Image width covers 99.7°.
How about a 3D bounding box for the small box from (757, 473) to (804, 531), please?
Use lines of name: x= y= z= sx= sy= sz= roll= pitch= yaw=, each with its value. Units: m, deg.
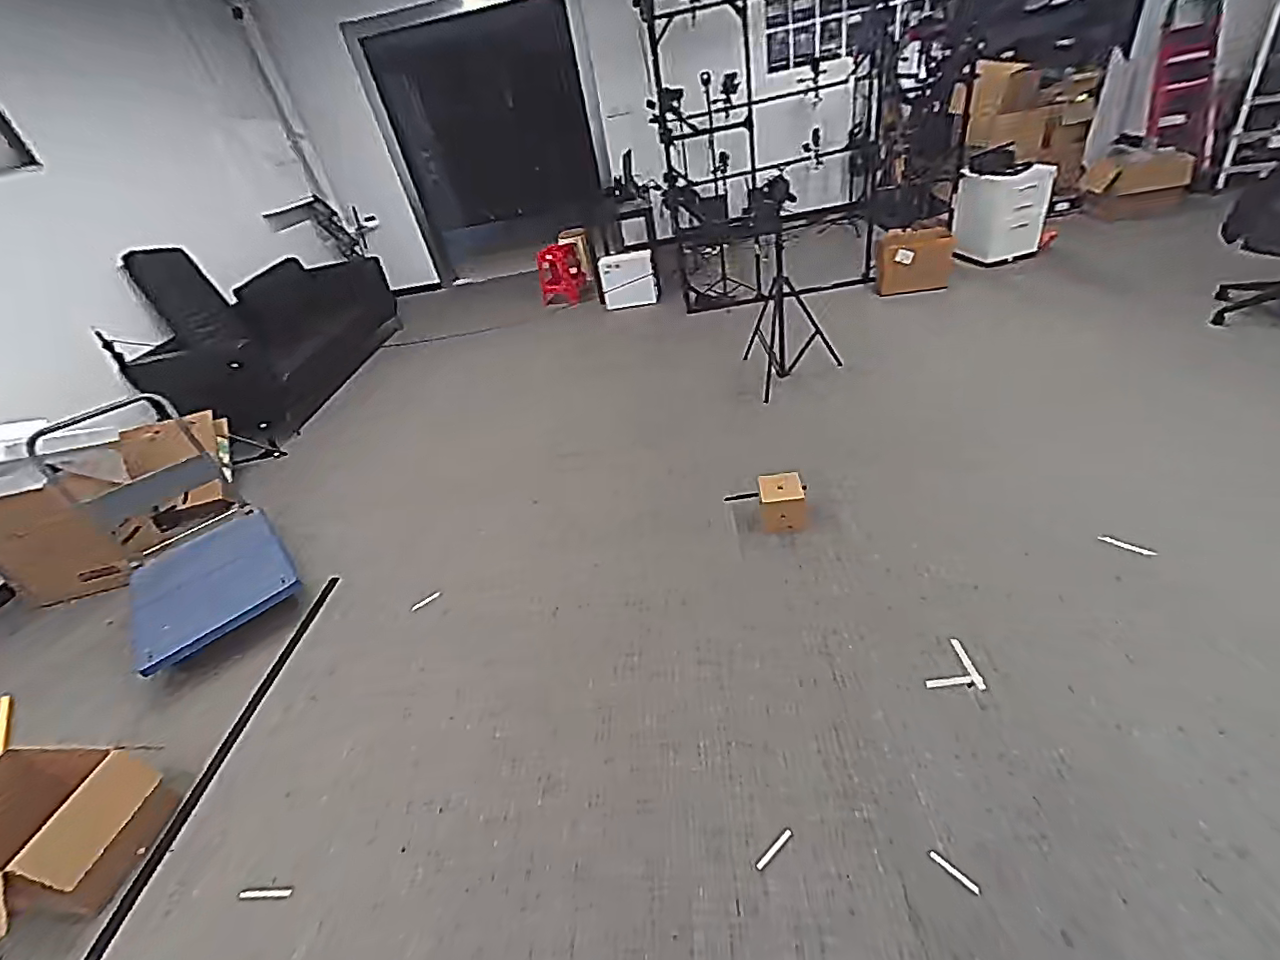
small box: x=0.577 y=0.098 z=2.225 sx=0.168 sy=0.176 sz=0.179 roll=-6 pitch=35 yaw=9
